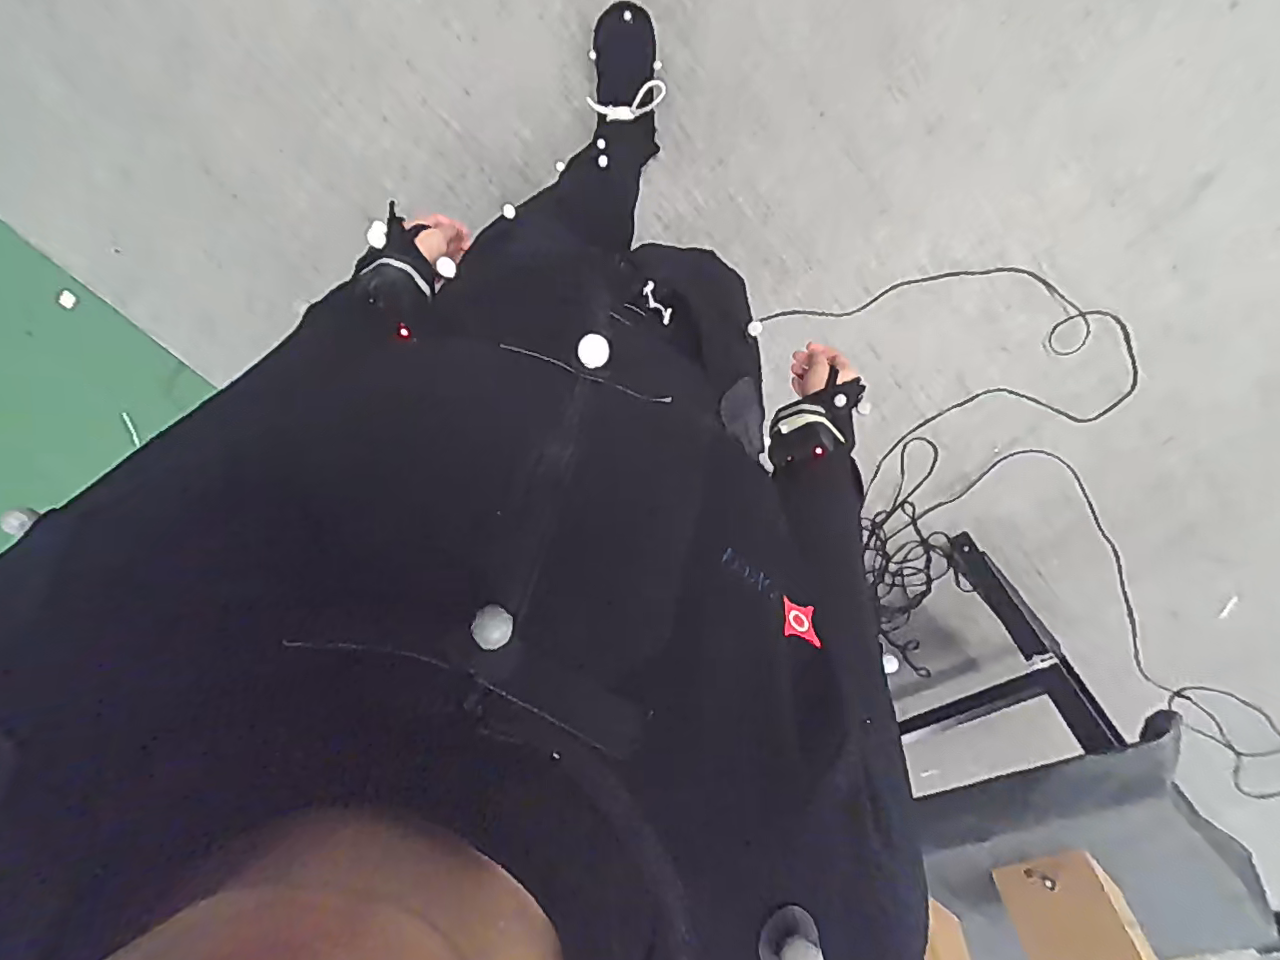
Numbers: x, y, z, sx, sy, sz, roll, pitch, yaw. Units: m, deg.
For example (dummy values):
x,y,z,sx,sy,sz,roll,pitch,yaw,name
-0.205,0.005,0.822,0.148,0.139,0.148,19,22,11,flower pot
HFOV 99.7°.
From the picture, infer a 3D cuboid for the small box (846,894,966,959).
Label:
x,y,z,sx,sy,sz,roll,pitch,yaw,name
0.540,0.959,1.077,0.168,0.176,0.179,-35,114,24,small box
